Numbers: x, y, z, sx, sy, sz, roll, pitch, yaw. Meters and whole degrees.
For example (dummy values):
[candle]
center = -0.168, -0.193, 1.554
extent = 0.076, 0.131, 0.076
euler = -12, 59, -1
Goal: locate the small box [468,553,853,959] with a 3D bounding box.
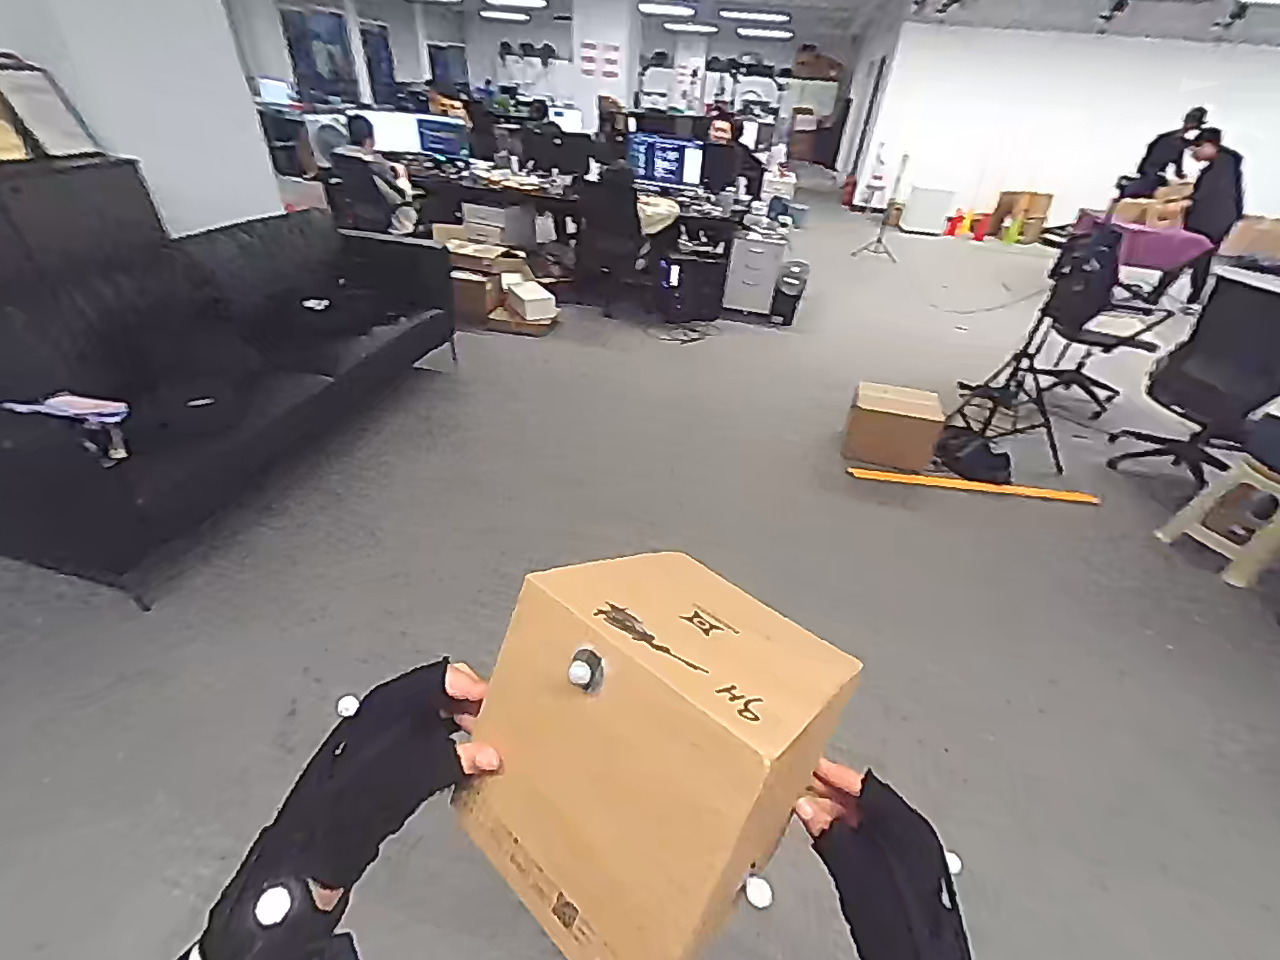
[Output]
[small box]
center = 0.015, 0.165, 0.367
extent = 0.168, 0.176, 0.179
euler = 26, 12, 32
